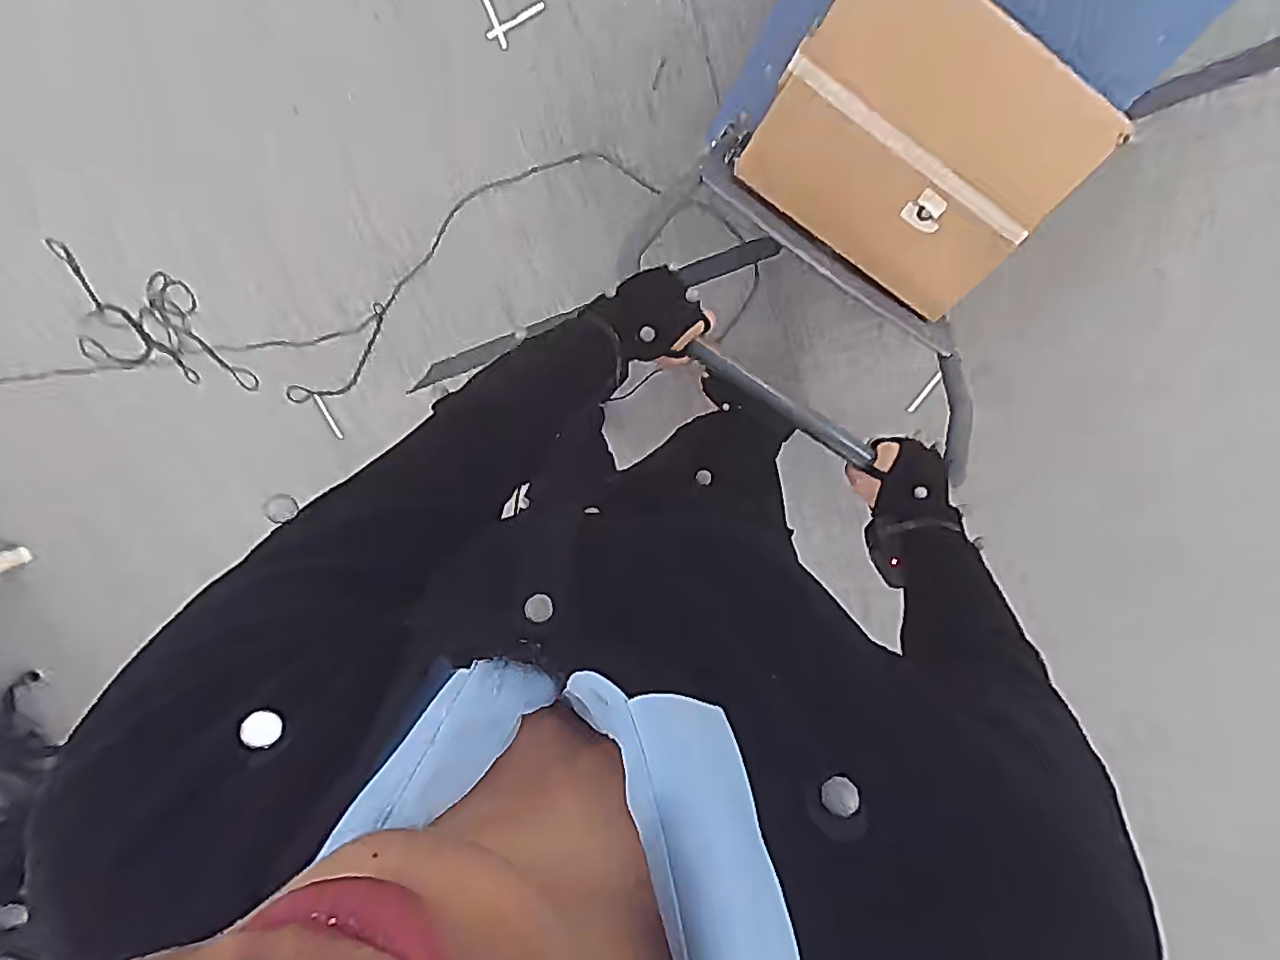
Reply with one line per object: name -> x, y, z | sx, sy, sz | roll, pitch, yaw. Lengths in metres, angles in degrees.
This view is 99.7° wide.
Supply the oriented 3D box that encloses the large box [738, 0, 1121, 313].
large box -> 0.422, -0.555, 0.882 | 0.408, 0.320, 0.320 | 33, 130, -8
